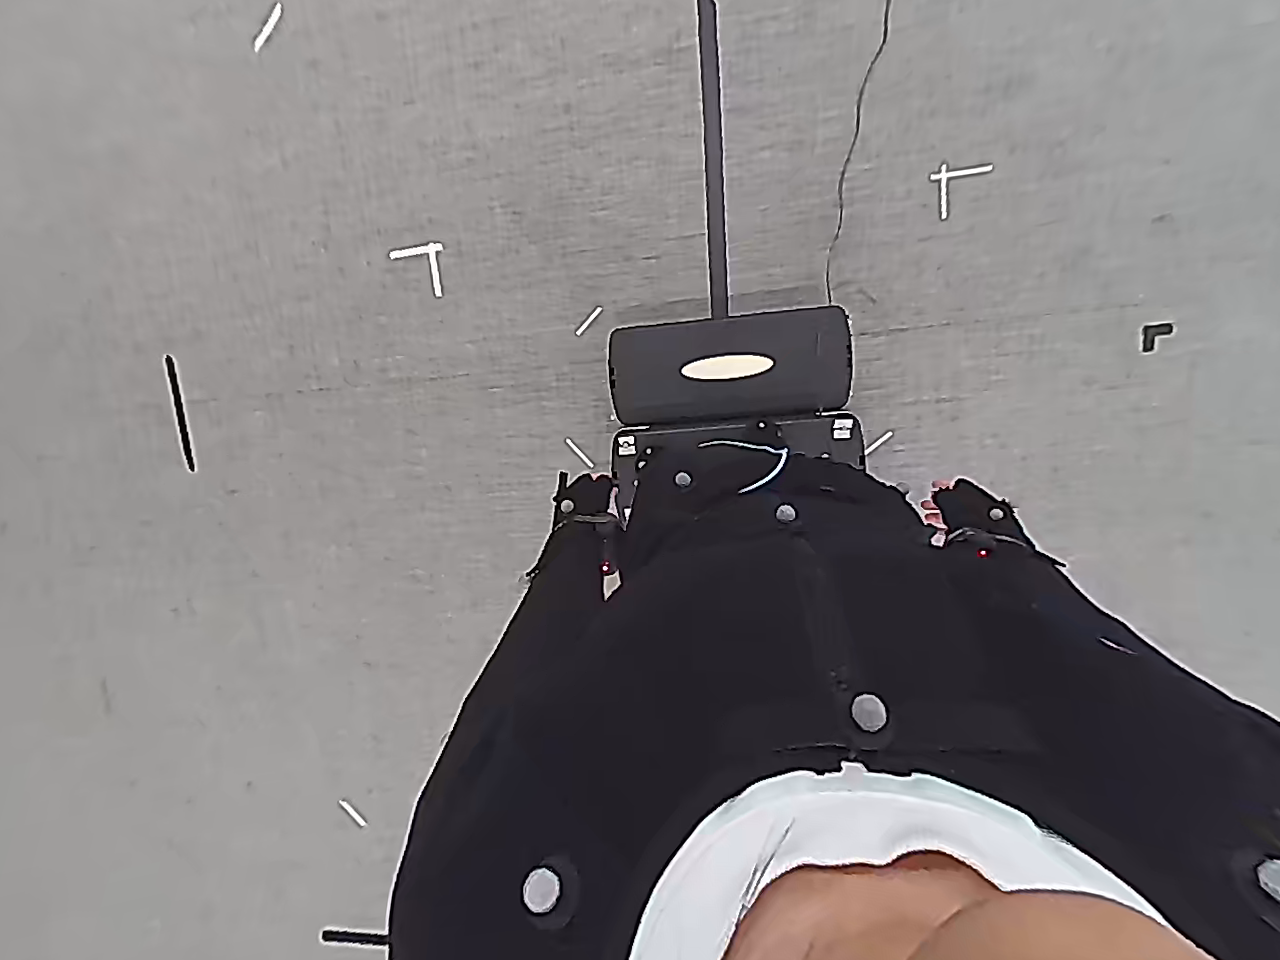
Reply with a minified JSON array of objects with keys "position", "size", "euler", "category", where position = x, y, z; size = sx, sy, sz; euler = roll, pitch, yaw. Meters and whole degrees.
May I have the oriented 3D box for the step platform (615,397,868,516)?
[{"position":[0.271,-0.062,1.518],"size":[0.684,0.204,0.286],"euler":[-4,97,10],"category":"step platform"}]
